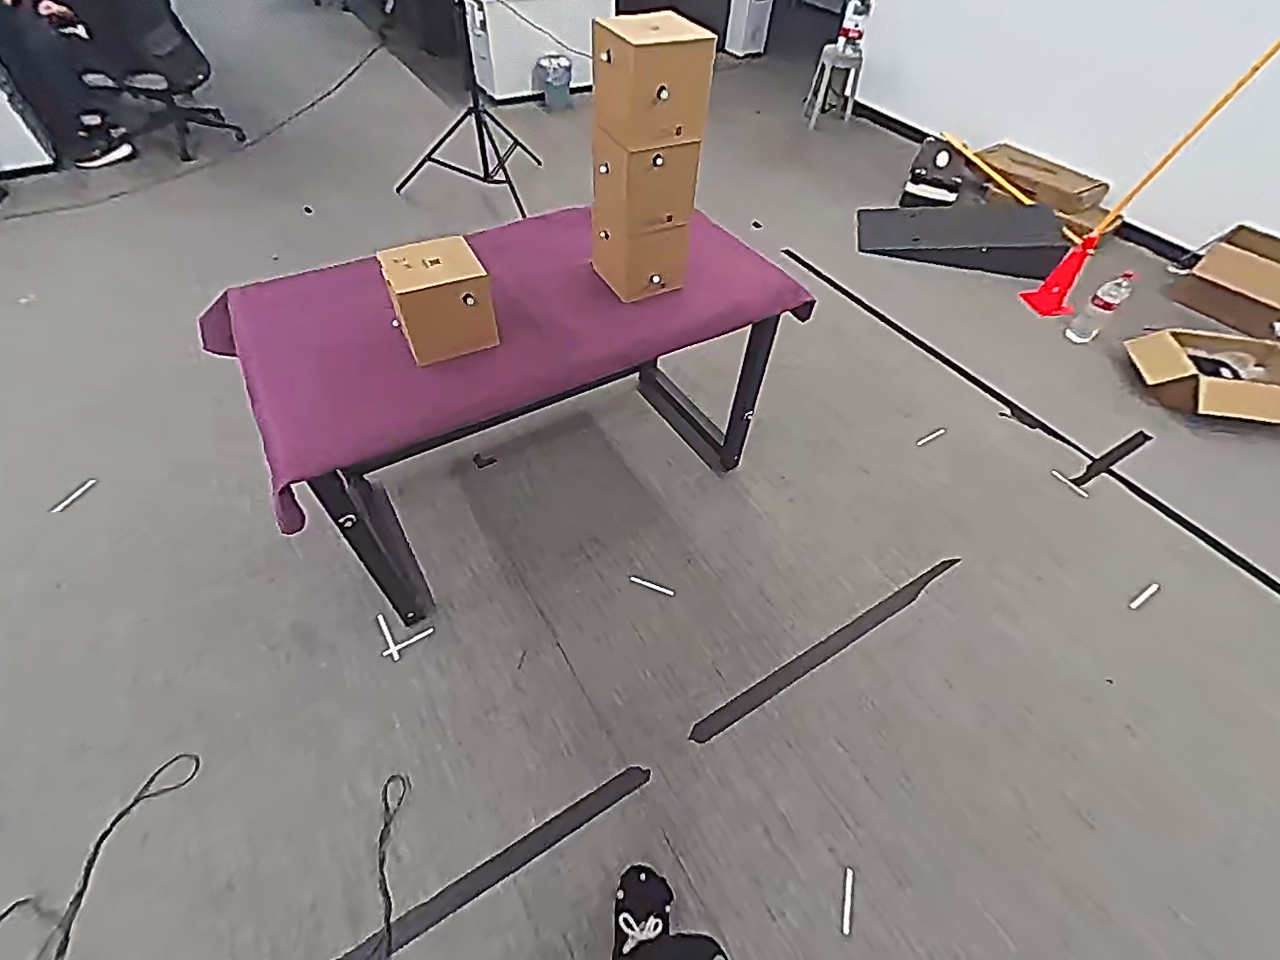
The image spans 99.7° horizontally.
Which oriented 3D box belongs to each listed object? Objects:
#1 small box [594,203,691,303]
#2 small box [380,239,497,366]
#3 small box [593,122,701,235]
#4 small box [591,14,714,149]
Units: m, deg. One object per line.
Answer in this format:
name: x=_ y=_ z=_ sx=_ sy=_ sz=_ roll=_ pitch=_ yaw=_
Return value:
small box: x=-0.001 y=-0.551 z=1.284 sx=0.168 sy=0.176 sz=0.179 roll=-23 pitch=57 yaw=-19
small box: x=-0.405 y=-0.364 z=1.113 sx=0.179 sy=0.176 sz=0.168 roll=-22 pitch=55 yaw=-19
small box: x=0.008 y=-0.650 z=1.154 sx=0.168 sy=0.176 sz=0.179 roll=-21 pitch=55 yaw=-18
small box: x=0.019 y=-0.747 z=1.022 sx=0.168 sy=0.176 sz=0.179 roll=-21 pitch=55 yaw=-18
